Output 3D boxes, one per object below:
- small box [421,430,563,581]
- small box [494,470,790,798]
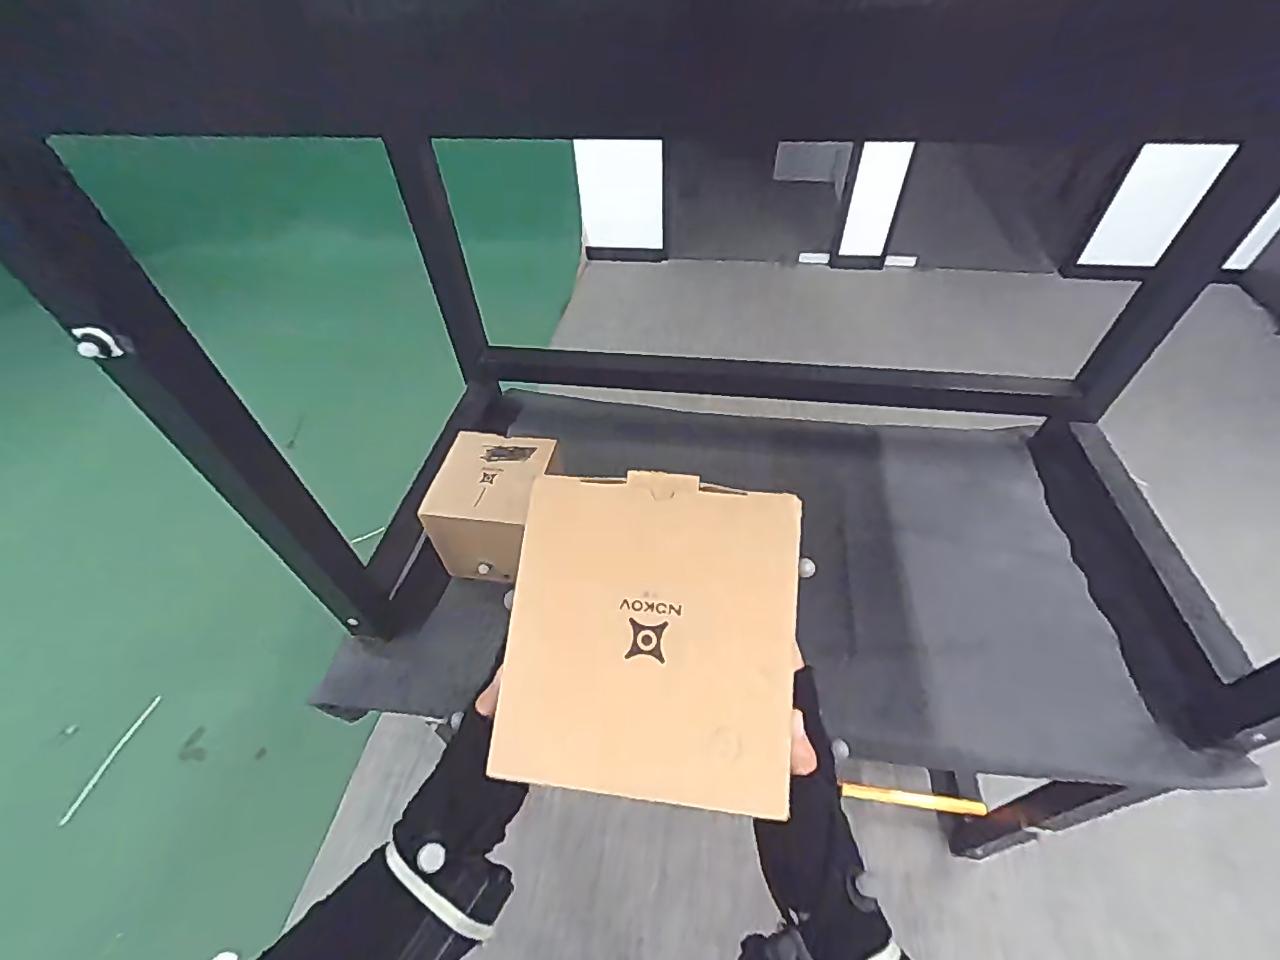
[{"bbox_3d":[-0.223,0.043,0.884,0.168,0.176,0.179,5,48,7],"label":"small box"},{"bbox_3d":[0.012,0.103,0.399,0.168,0.176,0.179,4,76,7],"label":"small box"}]
